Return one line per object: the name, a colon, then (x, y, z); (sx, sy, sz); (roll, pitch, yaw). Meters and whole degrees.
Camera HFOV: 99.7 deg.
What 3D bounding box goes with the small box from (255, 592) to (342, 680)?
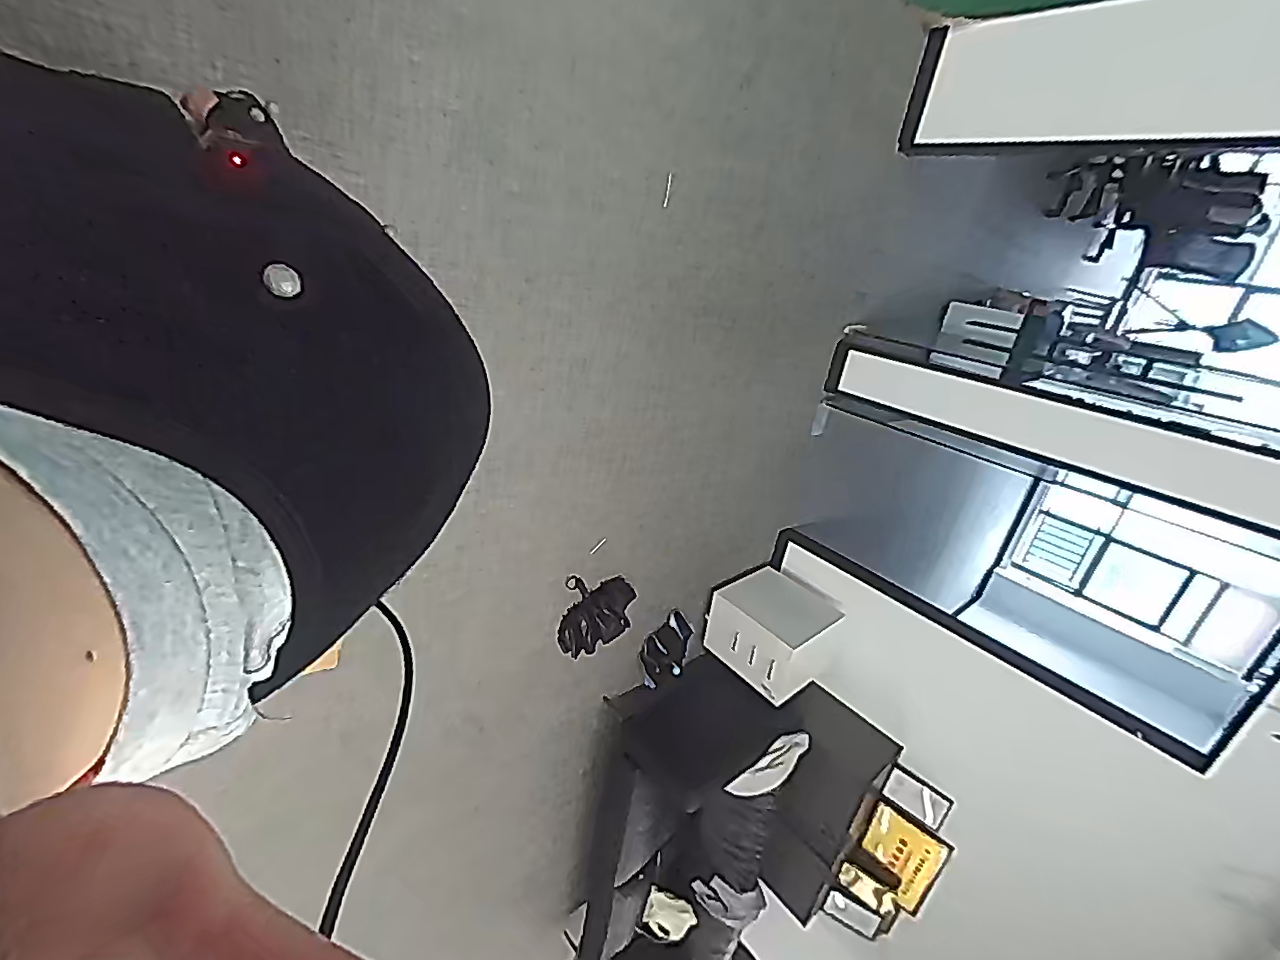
small box: (-0.983, 0.437, 1.553); (0.179, 0.176, 0.168); (1, 112, -43)
